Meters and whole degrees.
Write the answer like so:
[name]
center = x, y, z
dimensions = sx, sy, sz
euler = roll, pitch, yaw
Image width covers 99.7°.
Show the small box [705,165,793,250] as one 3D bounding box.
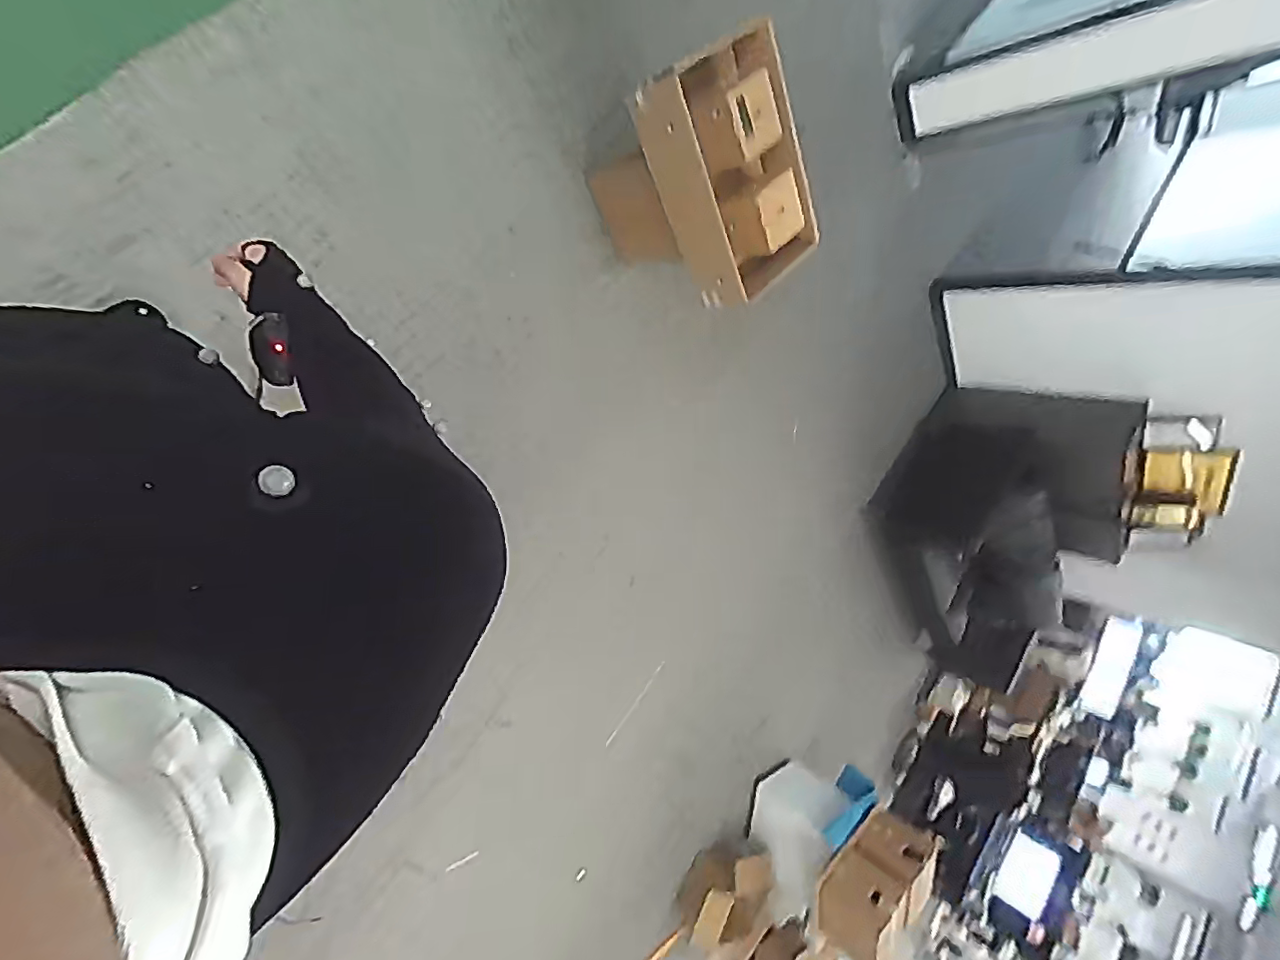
[small box]
center = 0.323, -0.809, 1.613
dimensions = 0.179, 0.176, 0.168
euler = -44, 129, -20
